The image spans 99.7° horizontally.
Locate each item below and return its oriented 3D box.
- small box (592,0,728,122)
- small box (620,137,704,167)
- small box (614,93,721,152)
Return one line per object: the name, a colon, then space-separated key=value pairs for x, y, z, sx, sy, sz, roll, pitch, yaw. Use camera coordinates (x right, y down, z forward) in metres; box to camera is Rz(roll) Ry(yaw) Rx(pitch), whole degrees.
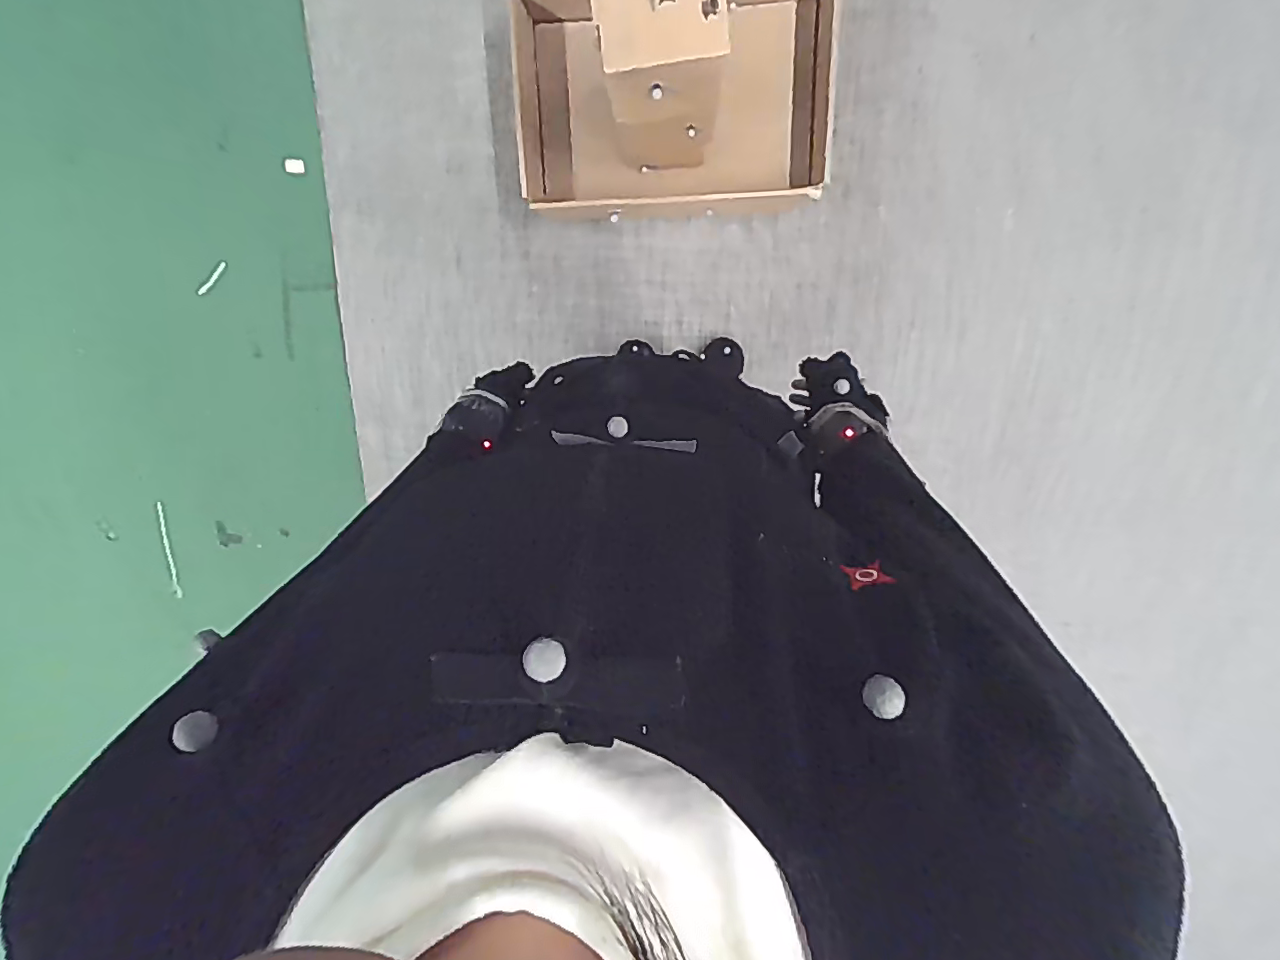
small box: x=0.030 y=-0.663 z=0.799 sx=0.179 sy=0.176 sz=0.168 roll=-8 pitch=101 yaw=6
small box: x=0.048 y=-0.759 z=1.107 sx=0.168 sy=0.176 sz=0.179 roll=-1 pitch=104 yaw=5
small box: x=0.040 y=-0.698 z=0.940 sx=0.179 sy=0.176 sz=0.168 roll=-7 pitch=104 yaw=6
